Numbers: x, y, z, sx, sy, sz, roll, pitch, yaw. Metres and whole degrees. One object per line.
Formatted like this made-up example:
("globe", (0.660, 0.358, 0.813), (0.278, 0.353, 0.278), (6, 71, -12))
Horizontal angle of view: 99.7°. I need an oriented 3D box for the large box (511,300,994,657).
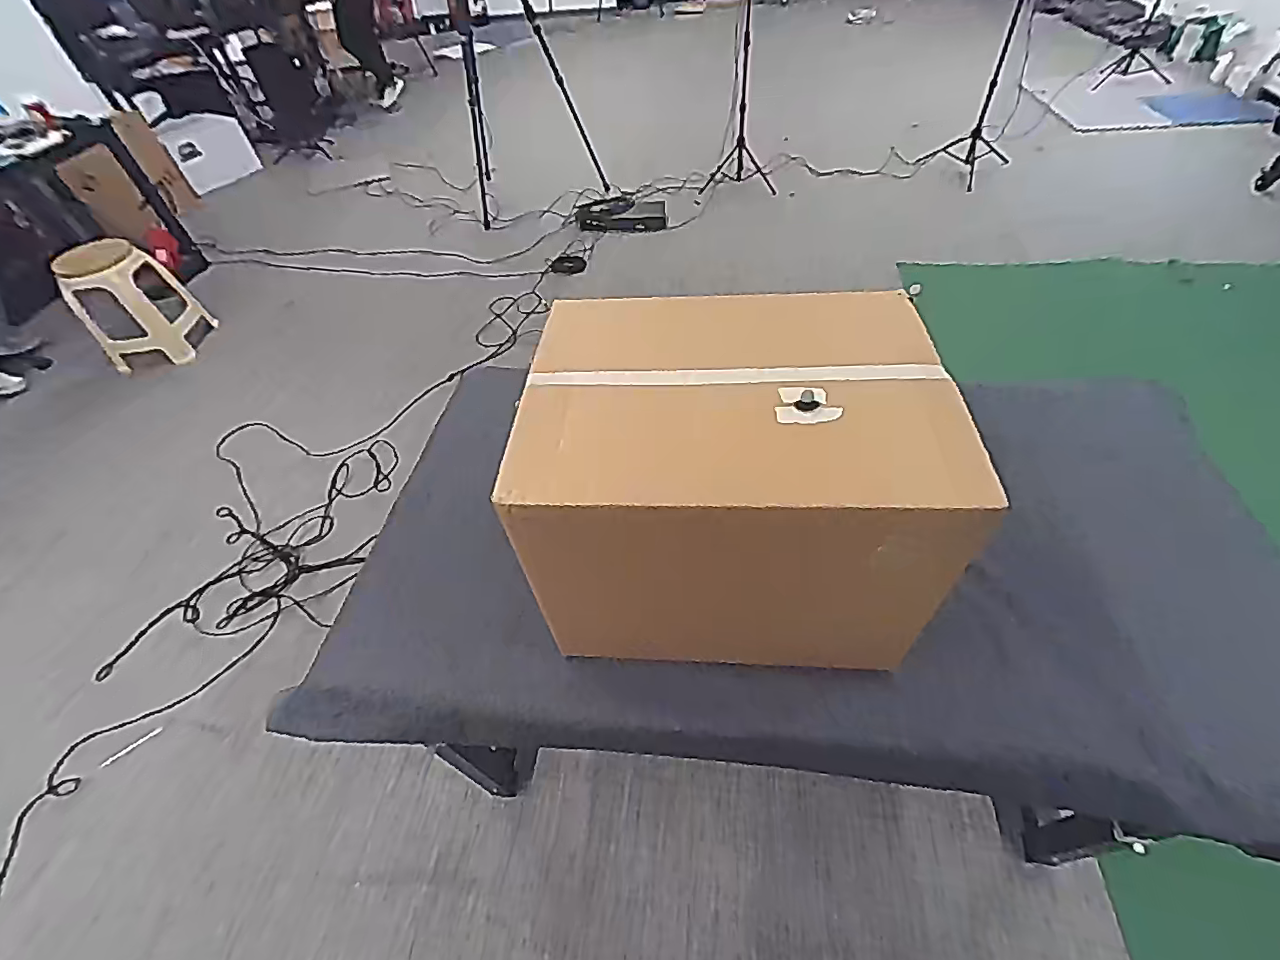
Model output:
("large box", (0.100, 0.003, 0.650), (0.408, 0.320, 0.320), (1, 50, 5))
